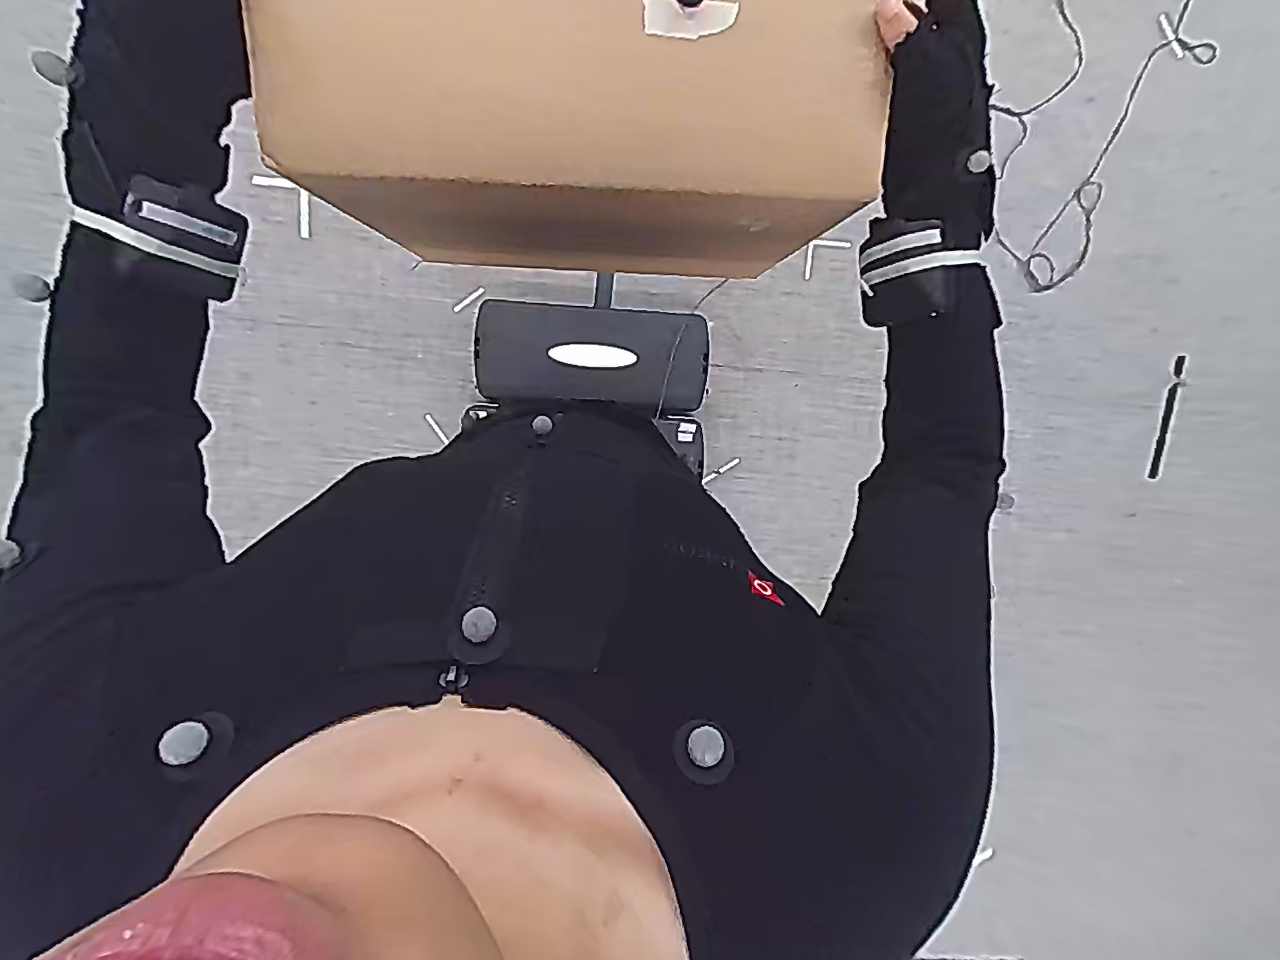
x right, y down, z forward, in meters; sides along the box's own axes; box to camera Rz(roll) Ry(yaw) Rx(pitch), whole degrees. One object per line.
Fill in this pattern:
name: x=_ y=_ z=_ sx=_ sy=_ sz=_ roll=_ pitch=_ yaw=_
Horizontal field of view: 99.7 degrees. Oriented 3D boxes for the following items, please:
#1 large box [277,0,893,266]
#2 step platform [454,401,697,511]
large box: x=-0.039 y=-0.385 z=0.485 sx=0.408 sy=0.320 sz=0.320 roll=1 pitch=102 yaw=-4
step platform: x=-0.178 y=-0.069 z=1.563 sx=0.684 sy=0.204 sz=0.286 roll=3 pitch=97 yaw=-2
